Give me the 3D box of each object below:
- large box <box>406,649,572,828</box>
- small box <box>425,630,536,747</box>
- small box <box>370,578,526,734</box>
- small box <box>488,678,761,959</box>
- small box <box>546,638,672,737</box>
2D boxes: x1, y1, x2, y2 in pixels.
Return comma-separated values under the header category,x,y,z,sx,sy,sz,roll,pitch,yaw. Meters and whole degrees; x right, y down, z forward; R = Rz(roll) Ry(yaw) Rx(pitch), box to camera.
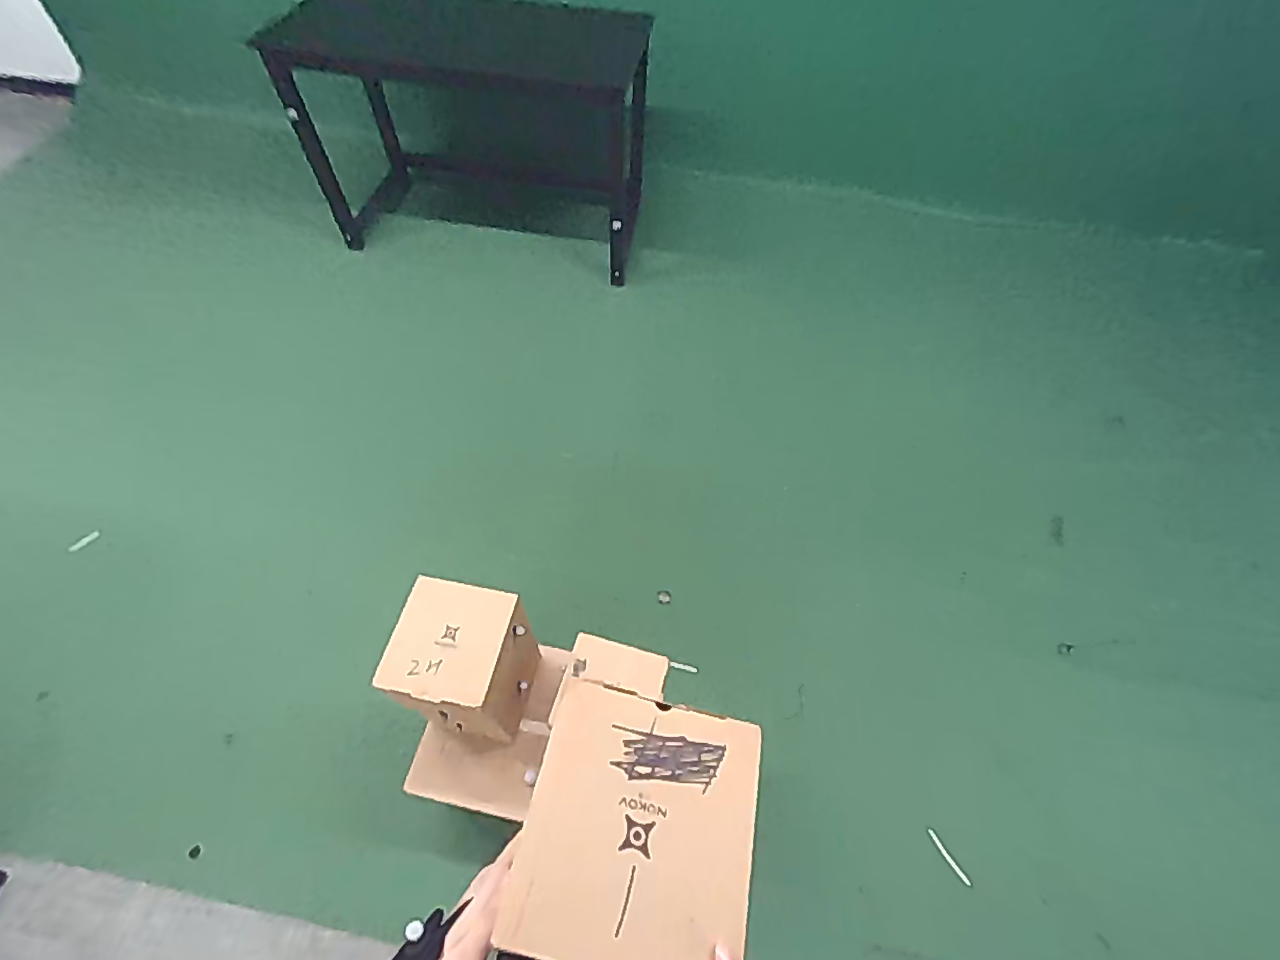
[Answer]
category,x,y,z,sx,sy,sz,roll,pitch,yaw
large box,-0.212,0.569,1.166,0.408,0.320,0.320,11,57,4
small box,-0.297,0.373,1.001,0.168,0.176,0.179,11,56,4
small box,-0.289,0.284,0.863,0.168,0.176,0.179,10,56,4
small box,-0.009,0.295,0.449,0.168,0.176,0.179,14,53,3
small box,-0.052,0.413,0.981,0.179,0.176,0.168,15,56,8
